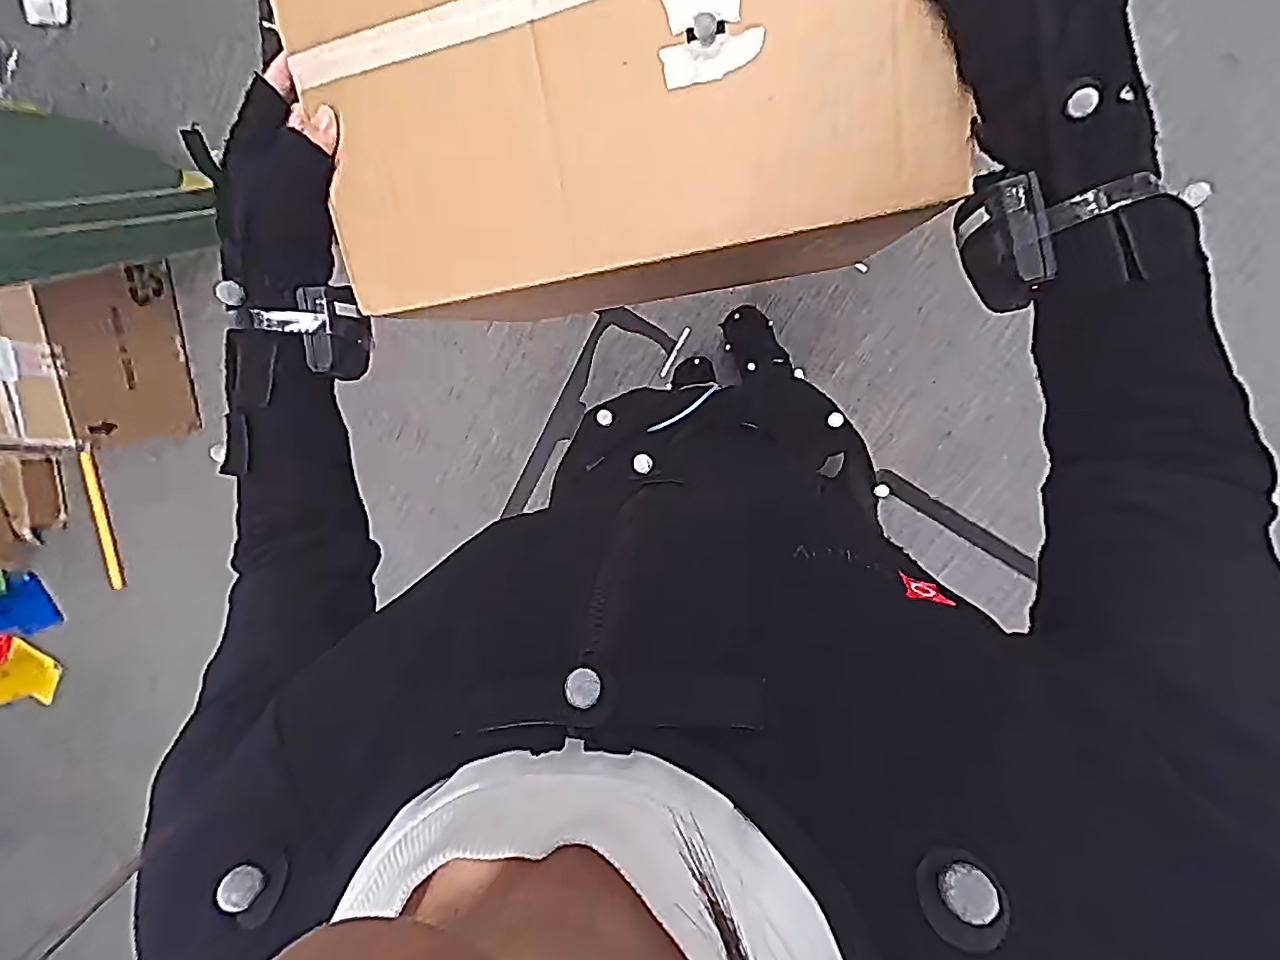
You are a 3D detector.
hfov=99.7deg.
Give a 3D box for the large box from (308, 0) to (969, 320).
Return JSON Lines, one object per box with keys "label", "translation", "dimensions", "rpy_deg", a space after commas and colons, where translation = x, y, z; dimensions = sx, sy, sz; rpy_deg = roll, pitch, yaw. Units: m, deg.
{"label": "large box", "translation": [0.002, -0.334, 0.470], "dimensions": [0.408, 0.320, 0.320], "rpy_deg": [-6, 104, 12]}
